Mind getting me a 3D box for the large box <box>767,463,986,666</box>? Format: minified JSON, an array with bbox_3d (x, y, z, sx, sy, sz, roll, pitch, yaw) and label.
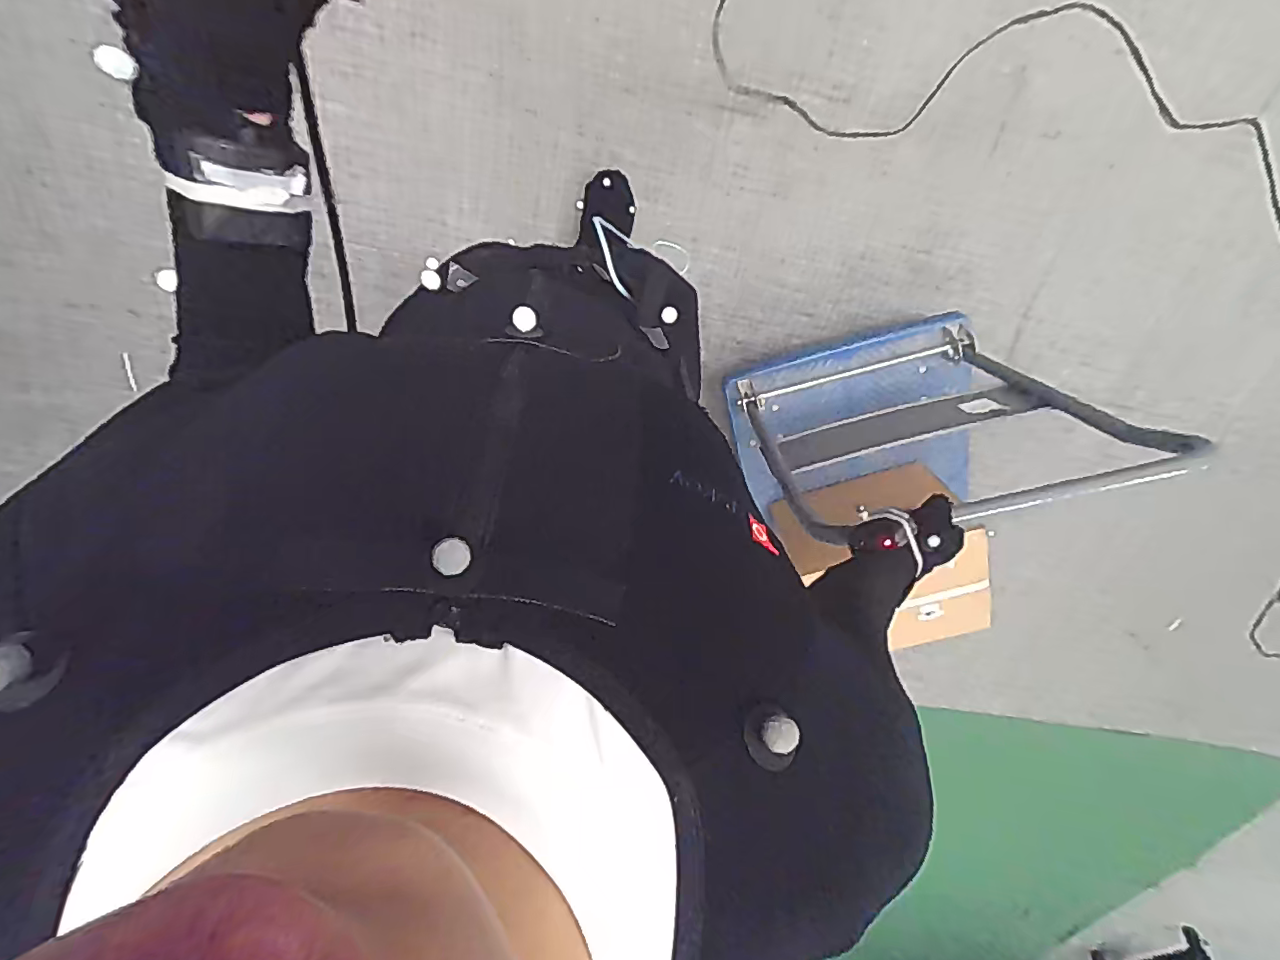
[{"bbox_3d":[0.583,0.207,1.376,0.408,0.320,0.320,-18,120,8],"label":"large box"}]
